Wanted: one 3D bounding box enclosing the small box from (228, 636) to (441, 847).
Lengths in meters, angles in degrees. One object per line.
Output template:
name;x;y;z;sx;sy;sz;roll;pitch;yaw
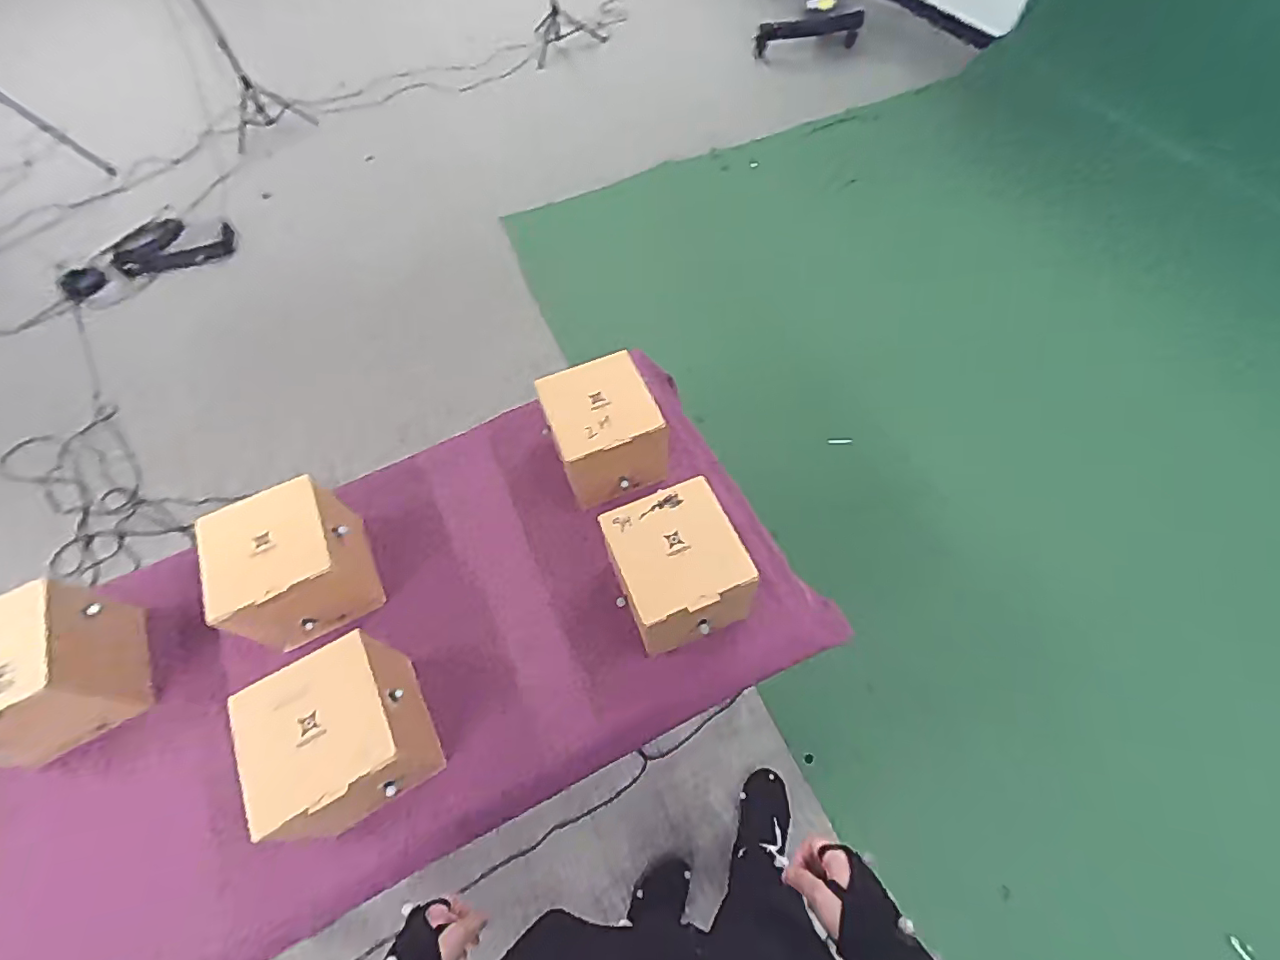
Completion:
small box;-0.386;0.337;0.706;0.168;0.176;0.179;-28;61;-13

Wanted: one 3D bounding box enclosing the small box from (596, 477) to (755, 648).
small box;0.050;0.131;0.794;0.168;0.176;0.179;-21;60;-8

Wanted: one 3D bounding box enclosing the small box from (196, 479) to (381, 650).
small box;-0.531;0.134;0.832;0.168;0.176;0.179;-26;63;-12

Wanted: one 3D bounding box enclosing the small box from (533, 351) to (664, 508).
small box;-0.067;-0.082;0.926;0.168;0.176;0.179;-22;62;-8
